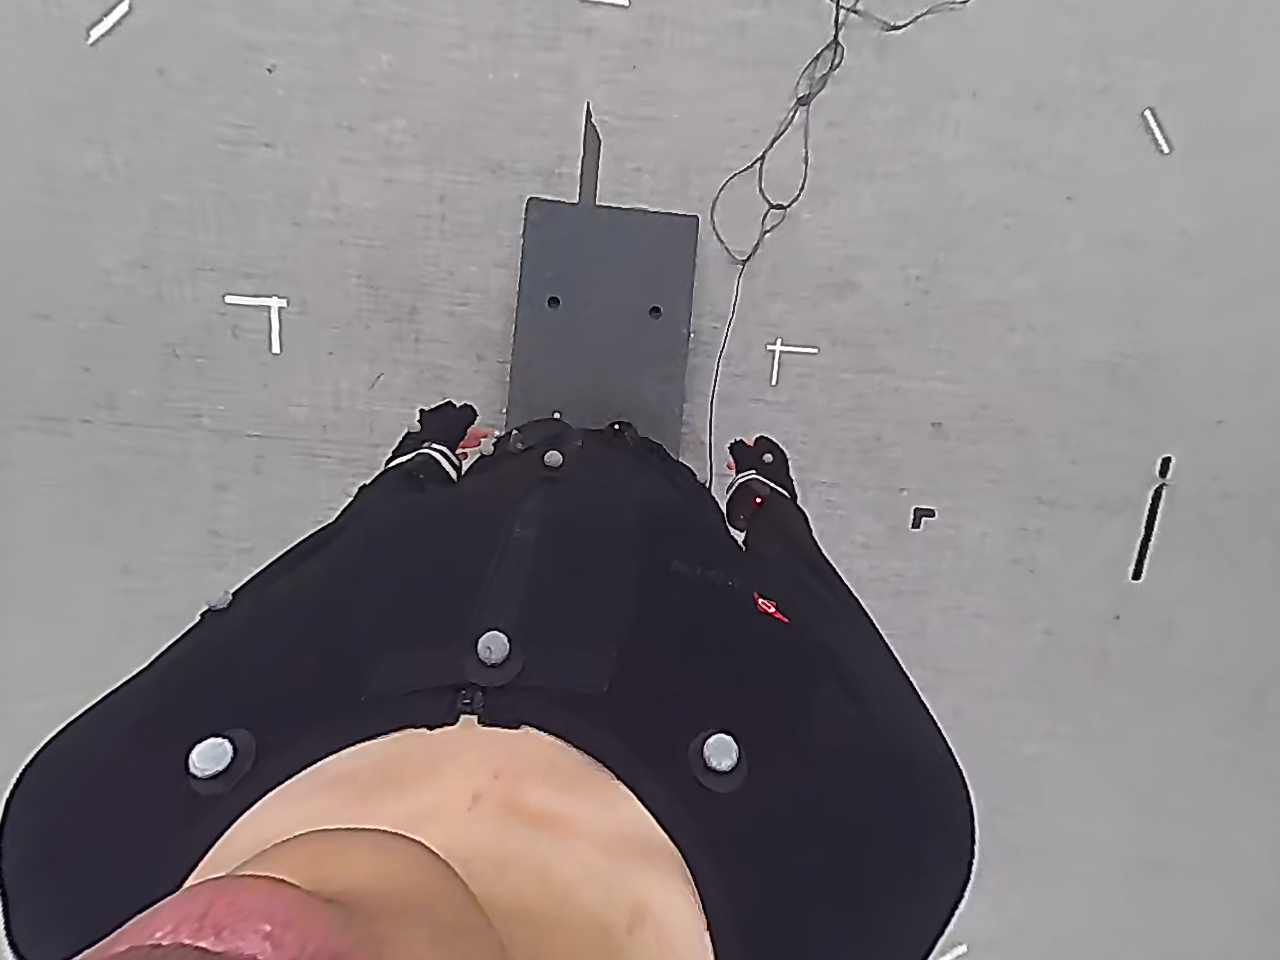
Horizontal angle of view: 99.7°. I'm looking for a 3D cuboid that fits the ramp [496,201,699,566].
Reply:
[{"bbox_3d":[-0.115,-0.275,1.513,0.509,0.206,0.991,3,97,-1],"label":"ramp"}]
